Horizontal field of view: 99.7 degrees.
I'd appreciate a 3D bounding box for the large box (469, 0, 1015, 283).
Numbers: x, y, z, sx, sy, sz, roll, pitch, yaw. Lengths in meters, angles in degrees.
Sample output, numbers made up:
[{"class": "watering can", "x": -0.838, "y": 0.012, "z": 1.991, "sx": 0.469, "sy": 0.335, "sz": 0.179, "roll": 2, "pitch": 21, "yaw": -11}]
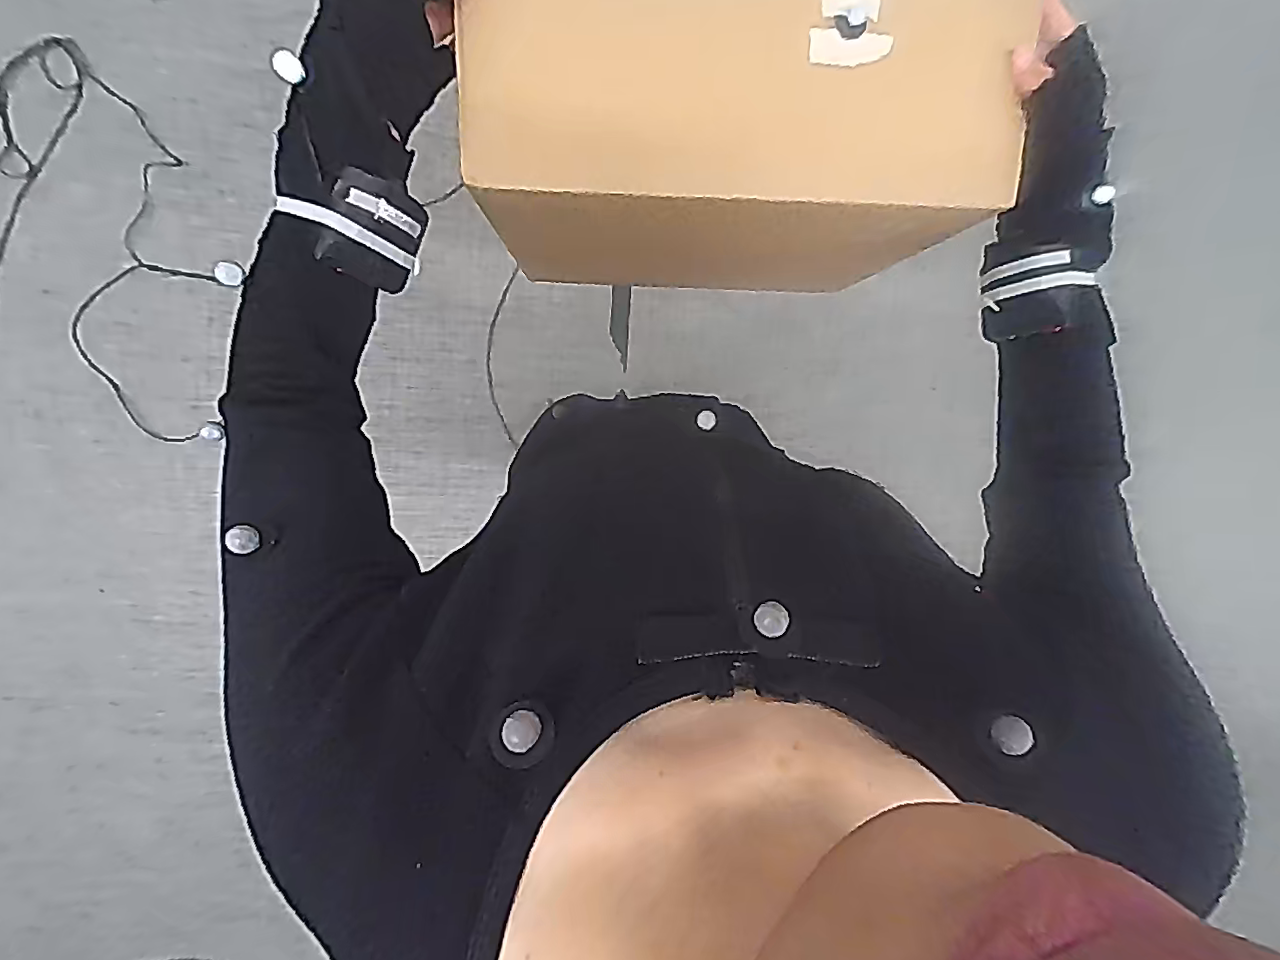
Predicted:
[{"class": "large box", "x": 0.067, "y": -0.387, "z": 0.530, "sx": 0.408, "sy": 0.320, "sz": 0.320, "roll": 0, "pitch": 98, "yaw": -4}]
